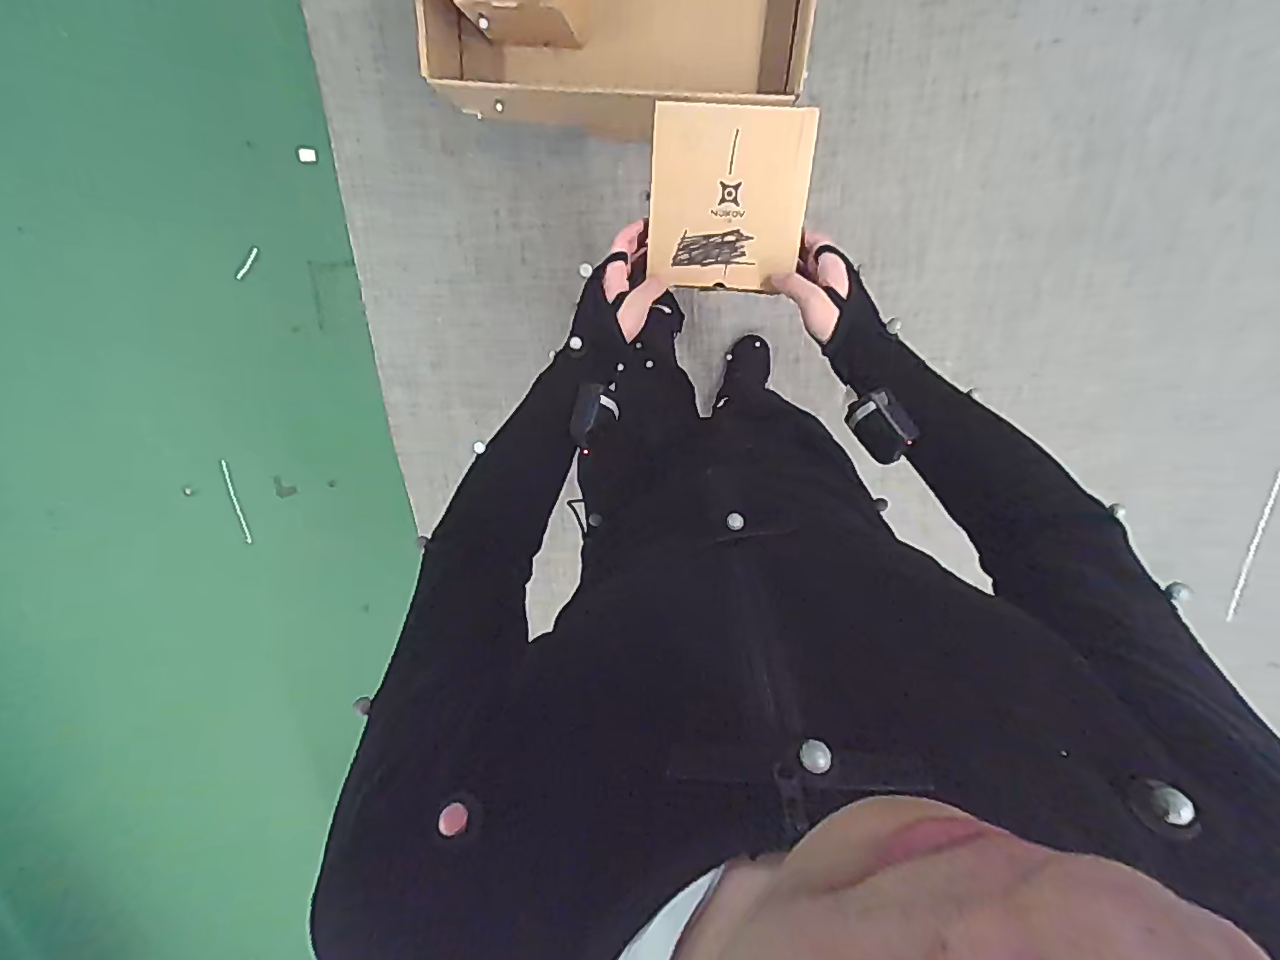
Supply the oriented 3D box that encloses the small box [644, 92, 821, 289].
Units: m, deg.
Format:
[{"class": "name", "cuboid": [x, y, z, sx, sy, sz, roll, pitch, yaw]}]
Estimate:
[{"class": "small box", "cuboid": [0.096, -0.328, 0.637, 0.168, 0.176, 0.179, 4, 113, 1]}]
